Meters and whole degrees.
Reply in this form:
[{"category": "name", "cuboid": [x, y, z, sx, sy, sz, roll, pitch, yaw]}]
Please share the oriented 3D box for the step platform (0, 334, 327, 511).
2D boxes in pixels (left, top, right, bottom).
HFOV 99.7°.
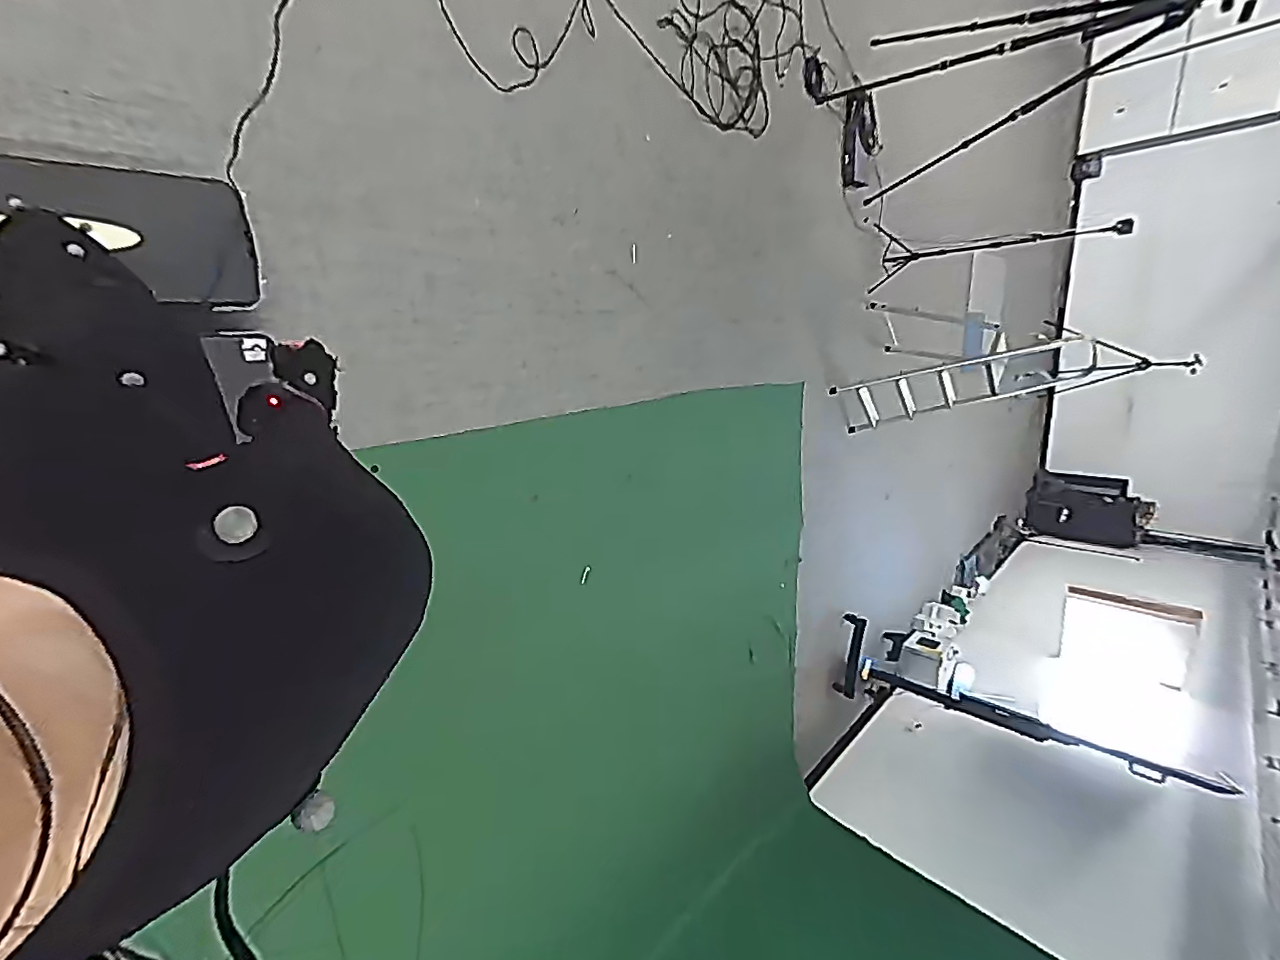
[{"category": "step platform", "cuboid": [-0.994, -0.111, 1.005, 0.684, 0.204, 0.286, -17, 110, -43]}]
